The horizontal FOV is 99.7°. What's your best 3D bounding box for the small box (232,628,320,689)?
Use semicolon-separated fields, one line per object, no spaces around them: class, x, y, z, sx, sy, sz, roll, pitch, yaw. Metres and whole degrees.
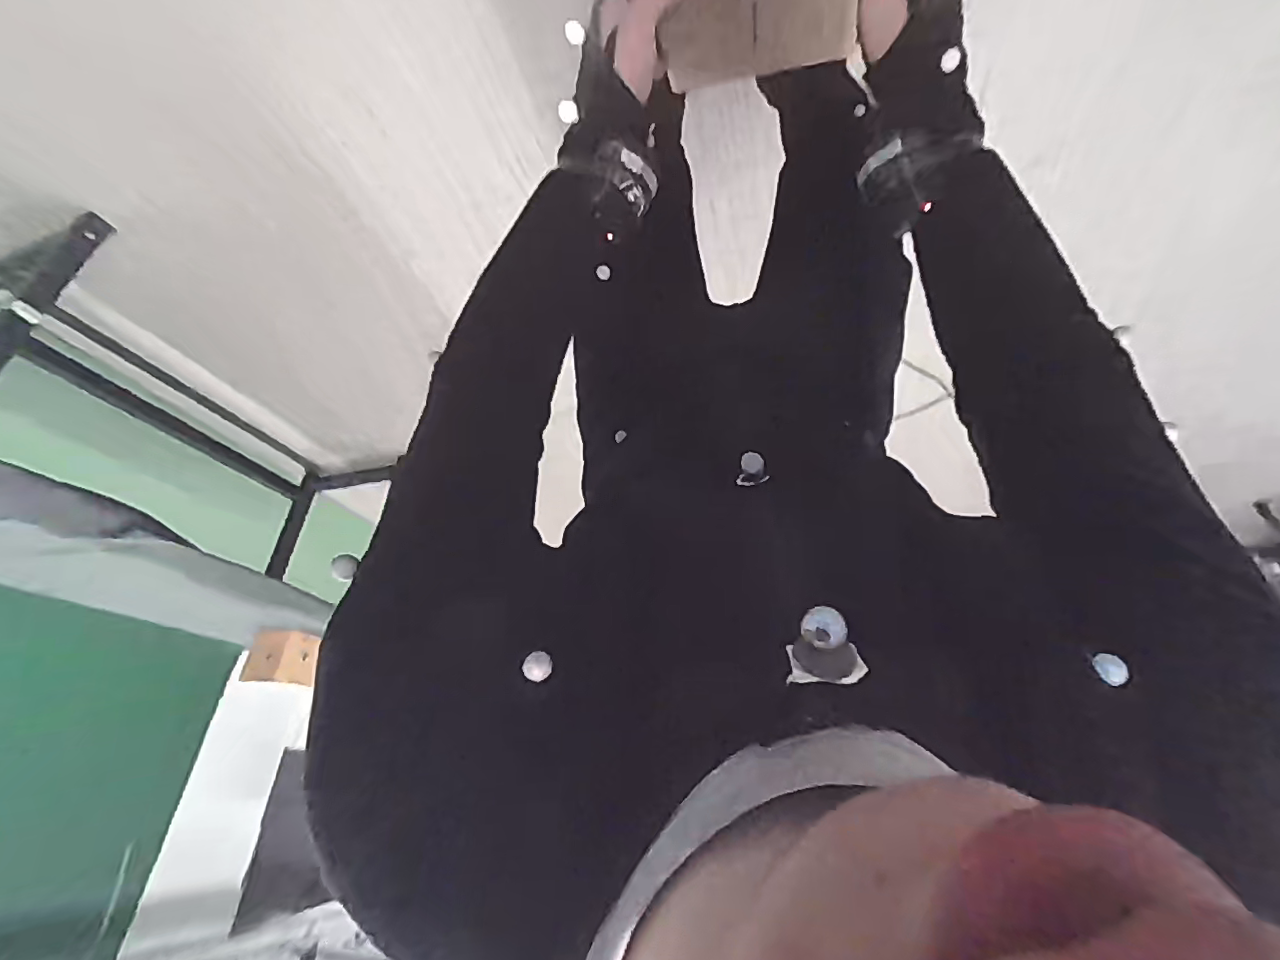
small box;-1.240;0.615;1.861;0.179;0.176;0.168;-9;148;18

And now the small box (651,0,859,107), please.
small box;0.096;-0.466;0.450;0.168;0.176;0.179;1;162;18
